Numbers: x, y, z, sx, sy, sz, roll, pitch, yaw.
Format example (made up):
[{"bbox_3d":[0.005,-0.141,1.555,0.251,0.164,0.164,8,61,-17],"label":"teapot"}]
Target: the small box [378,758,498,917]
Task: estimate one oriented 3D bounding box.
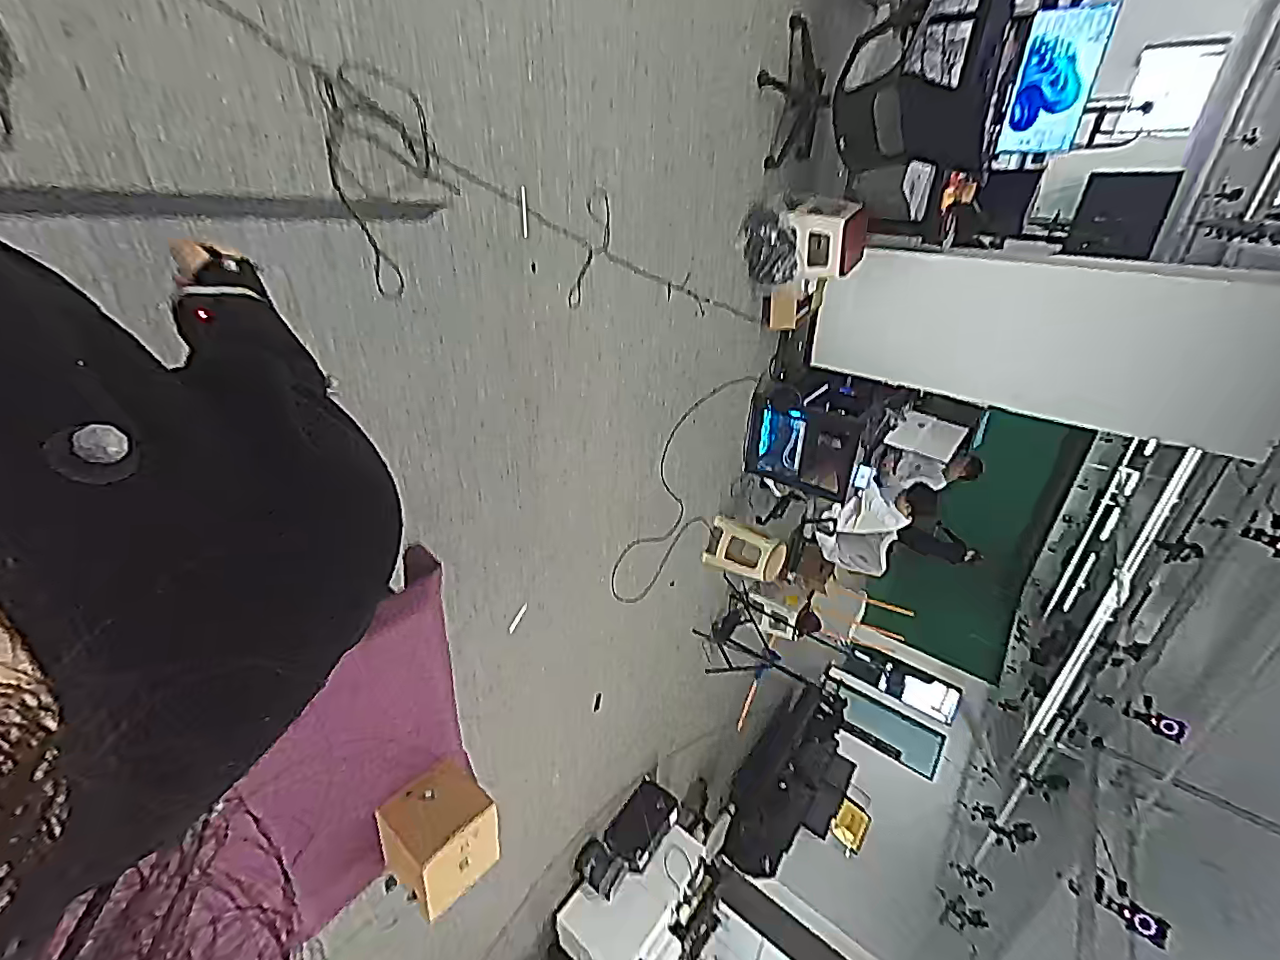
[{"bbox_3d":[-0.413,0.722,1.112,0.168,0.176,0.179,-25,126,-48],"label":"small box"}]
